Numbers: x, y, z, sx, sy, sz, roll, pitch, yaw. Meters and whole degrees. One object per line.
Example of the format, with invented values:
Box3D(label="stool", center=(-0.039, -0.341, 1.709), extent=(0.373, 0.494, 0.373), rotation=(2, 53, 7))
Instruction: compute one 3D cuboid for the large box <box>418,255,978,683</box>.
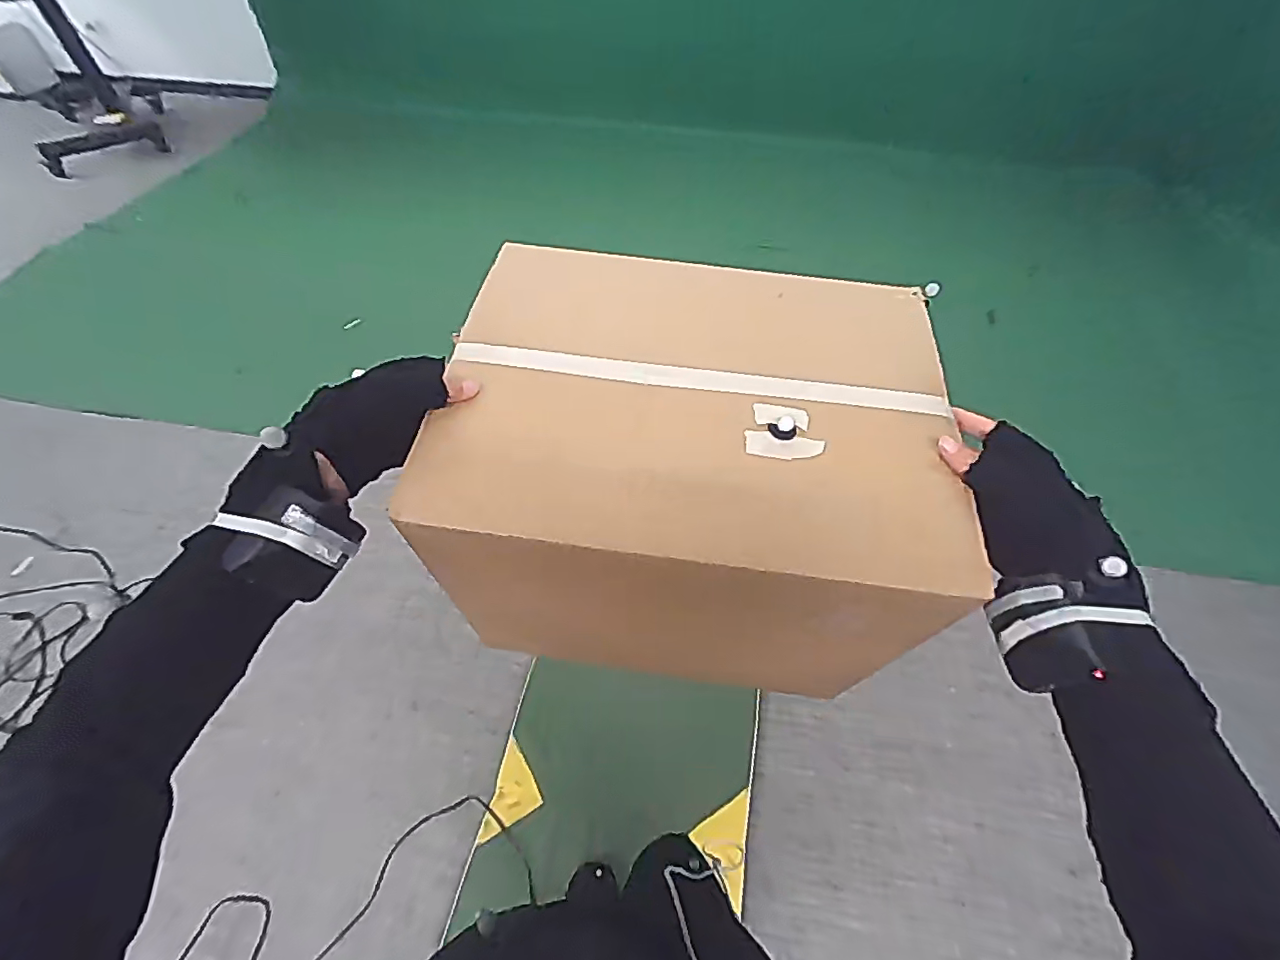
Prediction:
Box3D(label="large box", center=(0.046, 0.004, 0.580), extent=(0.408, 0.320, 0.320), rotation=(8, 57, 2))
